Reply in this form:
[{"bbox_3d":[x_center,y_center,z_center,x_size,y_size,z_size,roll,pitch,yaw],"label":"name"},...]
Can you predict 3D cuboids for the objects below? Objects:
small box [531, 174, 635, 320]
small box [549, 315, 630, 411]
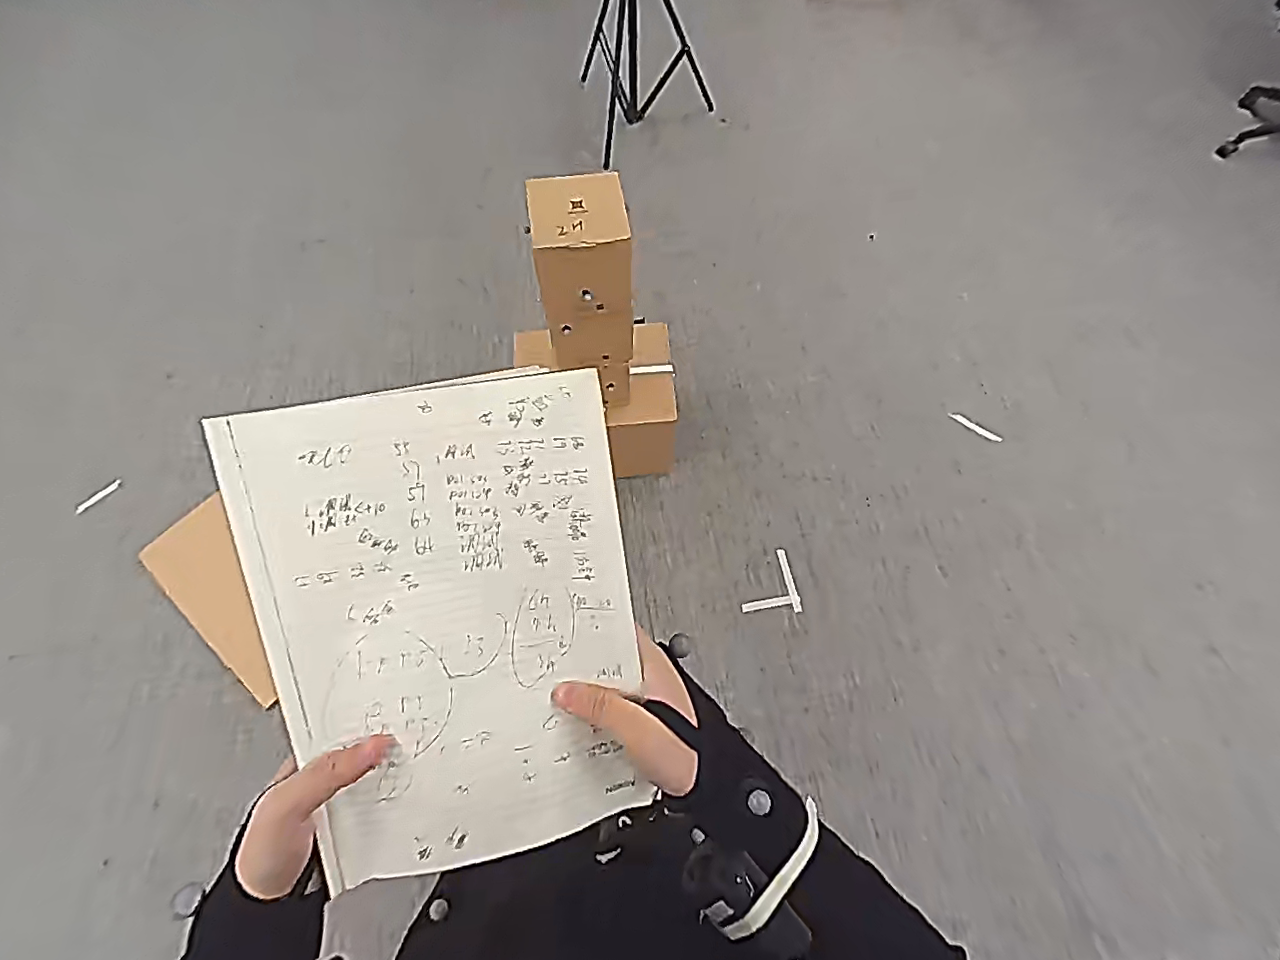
[{"bbox_3d":[-0.102,-0.420,0.987,0.168,0.176,0.179,-8,65,-4],"label":"small box"},{"bbox_3d":[-0.116,-0.277,1.283,0.168,0.176,0.179,-9,64,-6],"label":"small box"}]
